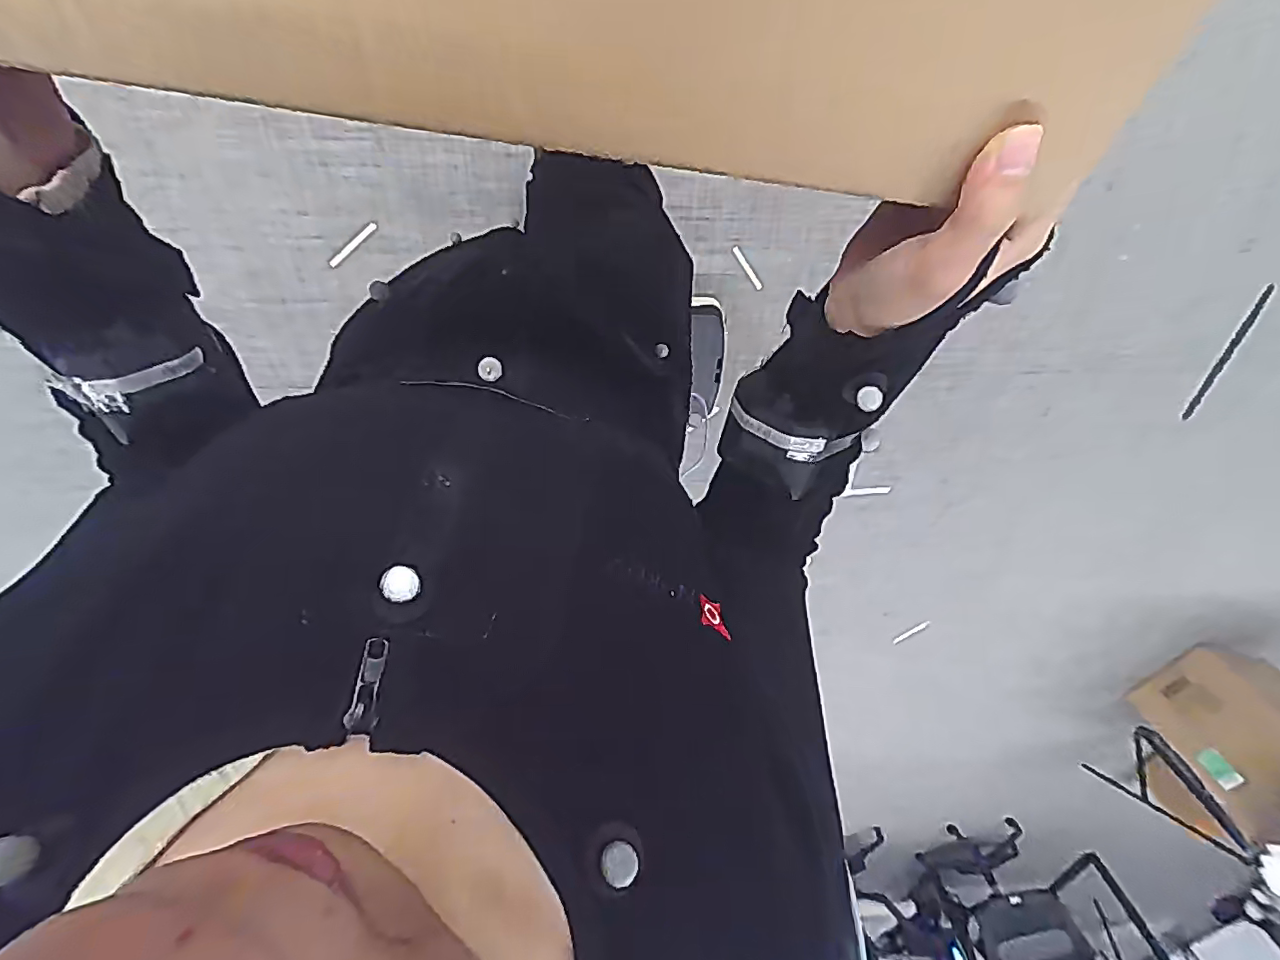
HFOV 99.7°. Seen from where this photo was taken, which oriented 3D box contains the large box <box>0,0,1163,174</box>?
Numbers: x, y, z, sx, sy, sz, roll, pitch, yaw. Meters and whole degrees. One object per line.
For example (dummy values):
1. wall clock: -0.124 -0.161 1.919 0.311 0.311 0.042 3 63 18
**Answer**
1. large box: -0.029 -0.336 0.152 0.408 0.320 0.320 4 145 -6
